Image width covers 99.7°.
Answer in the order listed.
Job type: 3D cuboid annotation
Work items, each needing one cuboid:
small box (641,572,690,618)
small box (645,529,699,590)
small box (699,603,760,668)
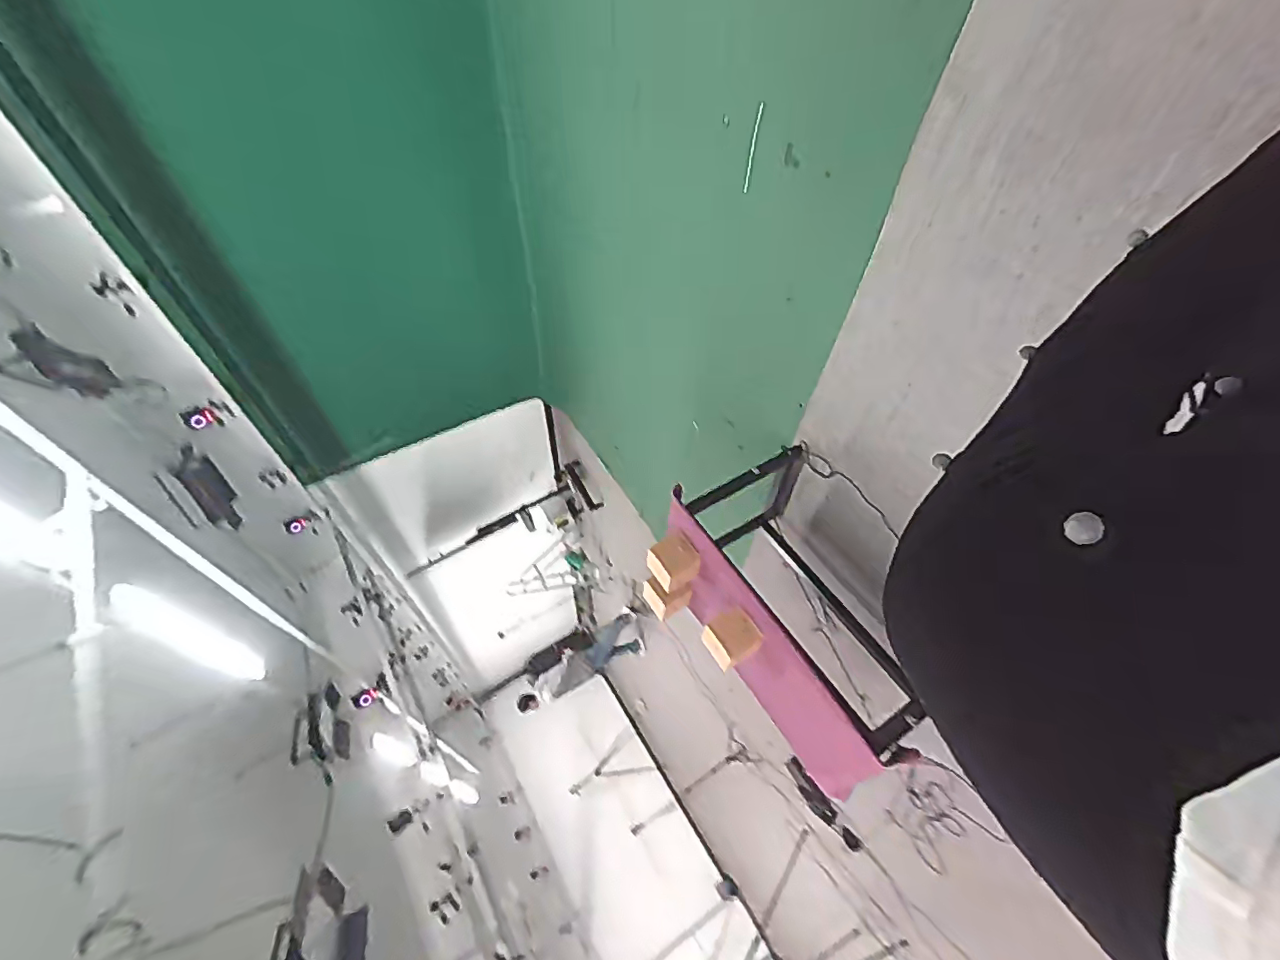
[{"bbox_3d":[0.123,0.535,2.629,0.168,0.176,0.179,50,154,27],"label":"small box"},{"bbox_3d":[0.140,0.347,2.369,0.168,0.176,0.179,52,158,26],"label":"small box"},{"bbox_3d":[0.361,0.624,2.175,0.168,0.176,0.179,53,158,27],"label":"small box"}]
